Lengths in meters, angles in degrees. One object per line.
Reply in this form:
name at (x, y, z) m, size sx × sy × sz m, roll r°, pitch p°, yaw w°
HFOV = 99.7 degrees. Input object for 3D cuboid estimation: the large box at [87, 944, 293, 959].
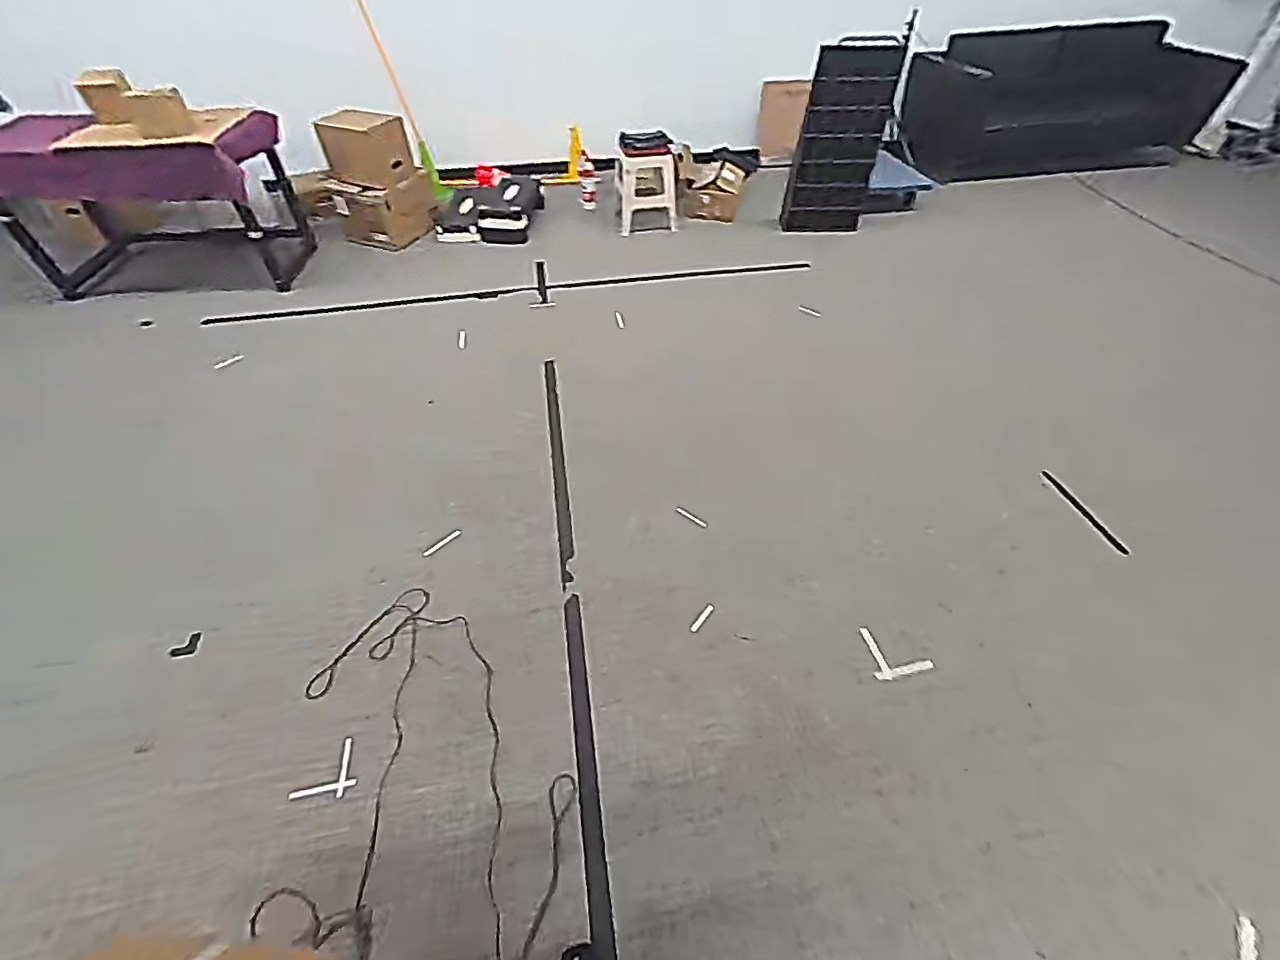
large box at (-0.587, 0.751, 0.544) m, size 0.320 × 0.408 × 0.320 m, roll 10°, pitch 66°, yaw -6°
